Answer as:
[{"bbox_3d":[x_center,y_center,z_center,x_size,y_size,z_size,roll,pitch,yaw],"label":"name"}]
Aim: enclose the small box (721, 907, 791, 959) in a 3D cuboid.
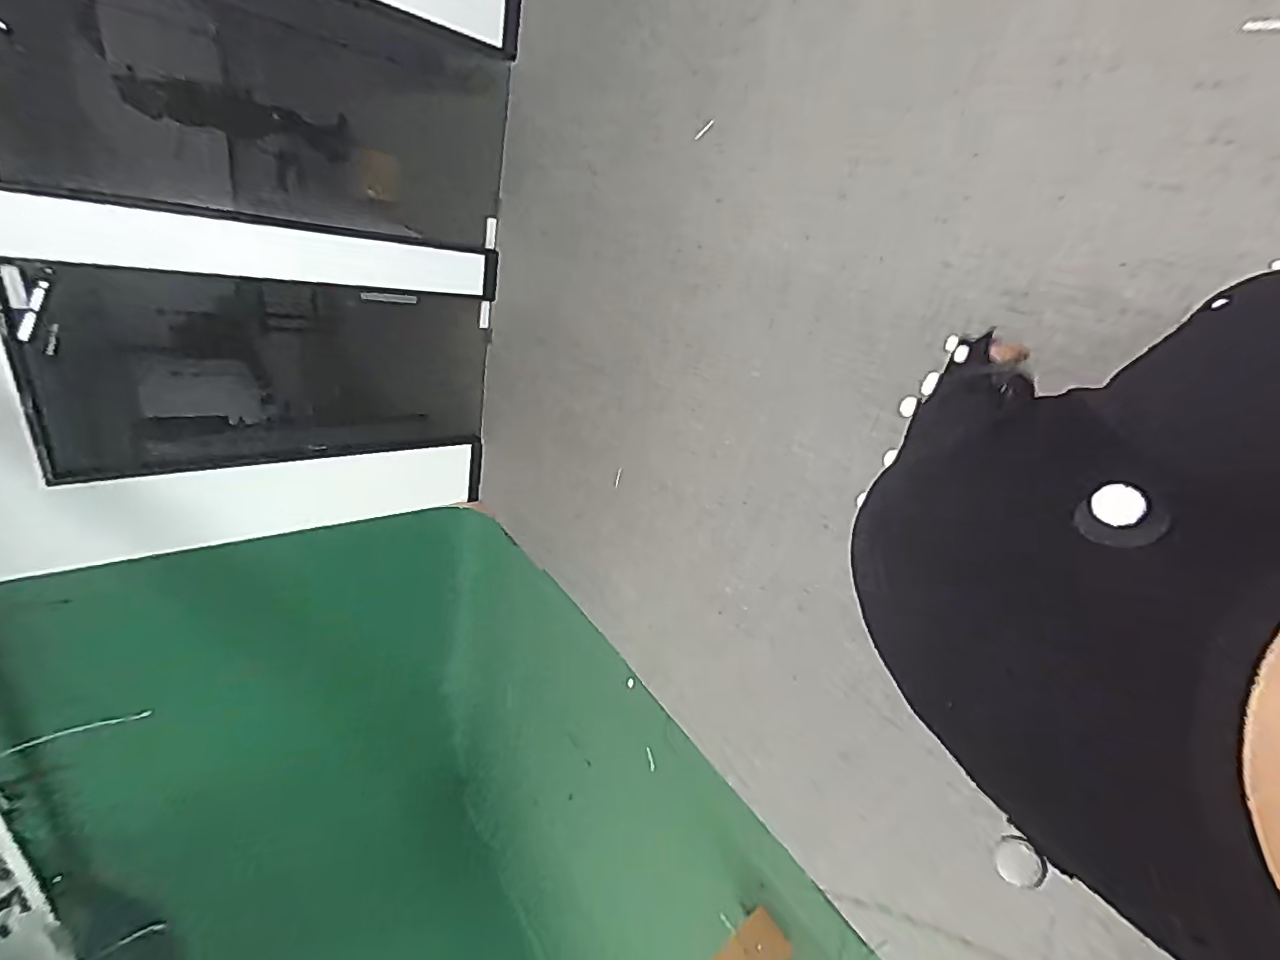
[{"bbox_3d":[0.455,1.825,2.116,0.179,0.176,0.168,42,127,37],"label":"small box"}]
